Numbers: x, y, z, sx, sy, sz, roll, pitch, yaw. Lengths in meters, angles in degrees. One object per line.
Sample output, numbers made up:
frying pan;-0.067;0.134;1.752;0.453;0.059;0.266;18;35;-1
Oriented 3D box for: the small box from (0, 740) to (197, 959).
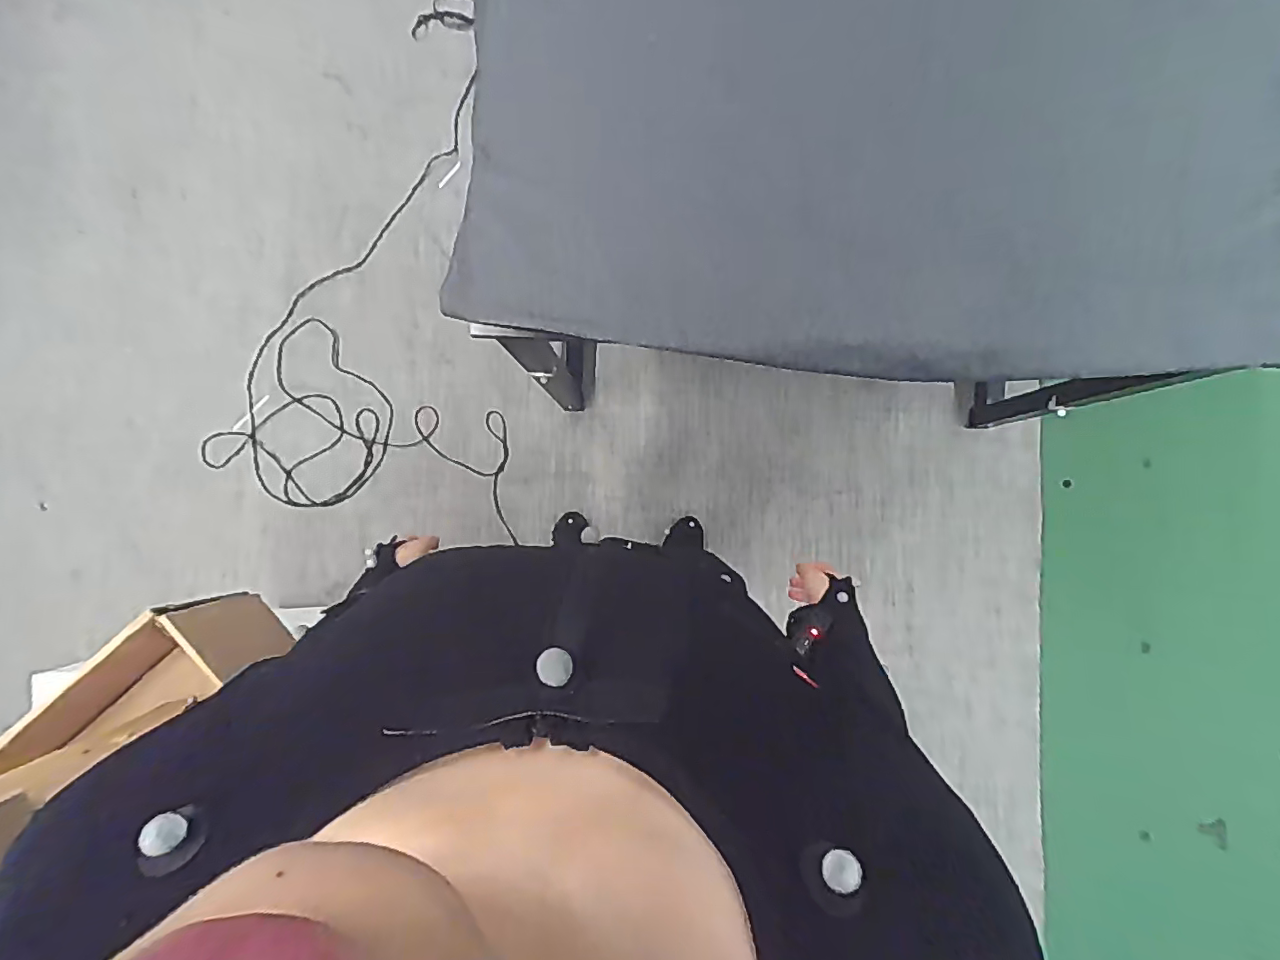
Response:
small box;-0.656;0.417;0.613;0.168;0.176;0.179;-7;91;2
